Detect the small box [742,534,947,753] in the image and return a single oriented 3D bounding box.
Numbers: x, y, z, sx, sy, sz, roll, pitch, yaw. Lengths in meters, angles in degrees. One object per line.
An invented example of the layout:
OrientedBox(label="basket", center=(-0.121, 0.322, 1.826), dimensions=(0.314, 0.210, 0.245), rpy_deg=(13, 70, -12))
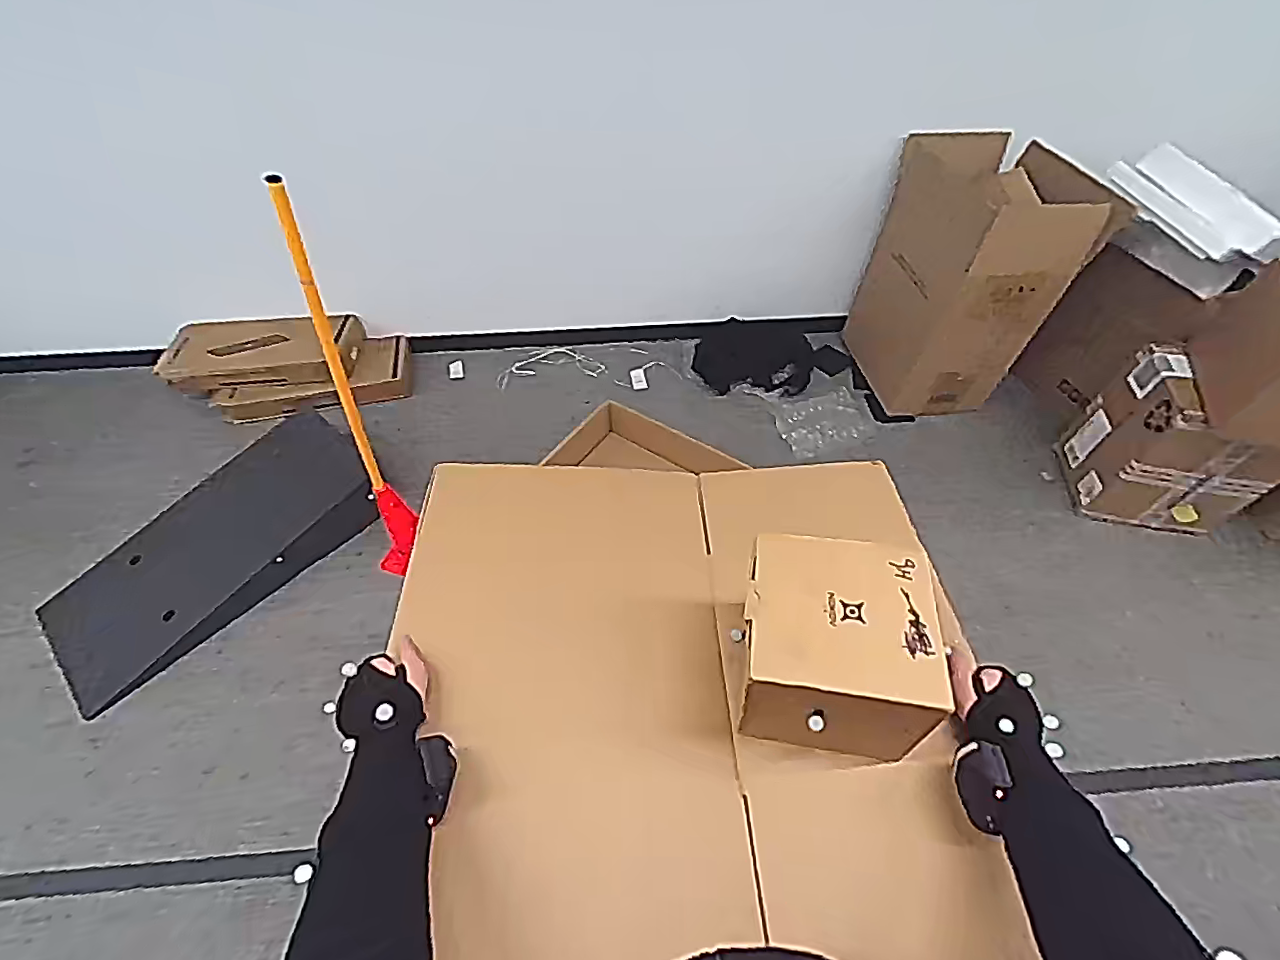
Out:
OrientedBox(label="small box", center=(0.206, 0.180, 0.592), dimensions=(0.179, 0.176, 0.168), rpy_deg=(5, 50, 12))
